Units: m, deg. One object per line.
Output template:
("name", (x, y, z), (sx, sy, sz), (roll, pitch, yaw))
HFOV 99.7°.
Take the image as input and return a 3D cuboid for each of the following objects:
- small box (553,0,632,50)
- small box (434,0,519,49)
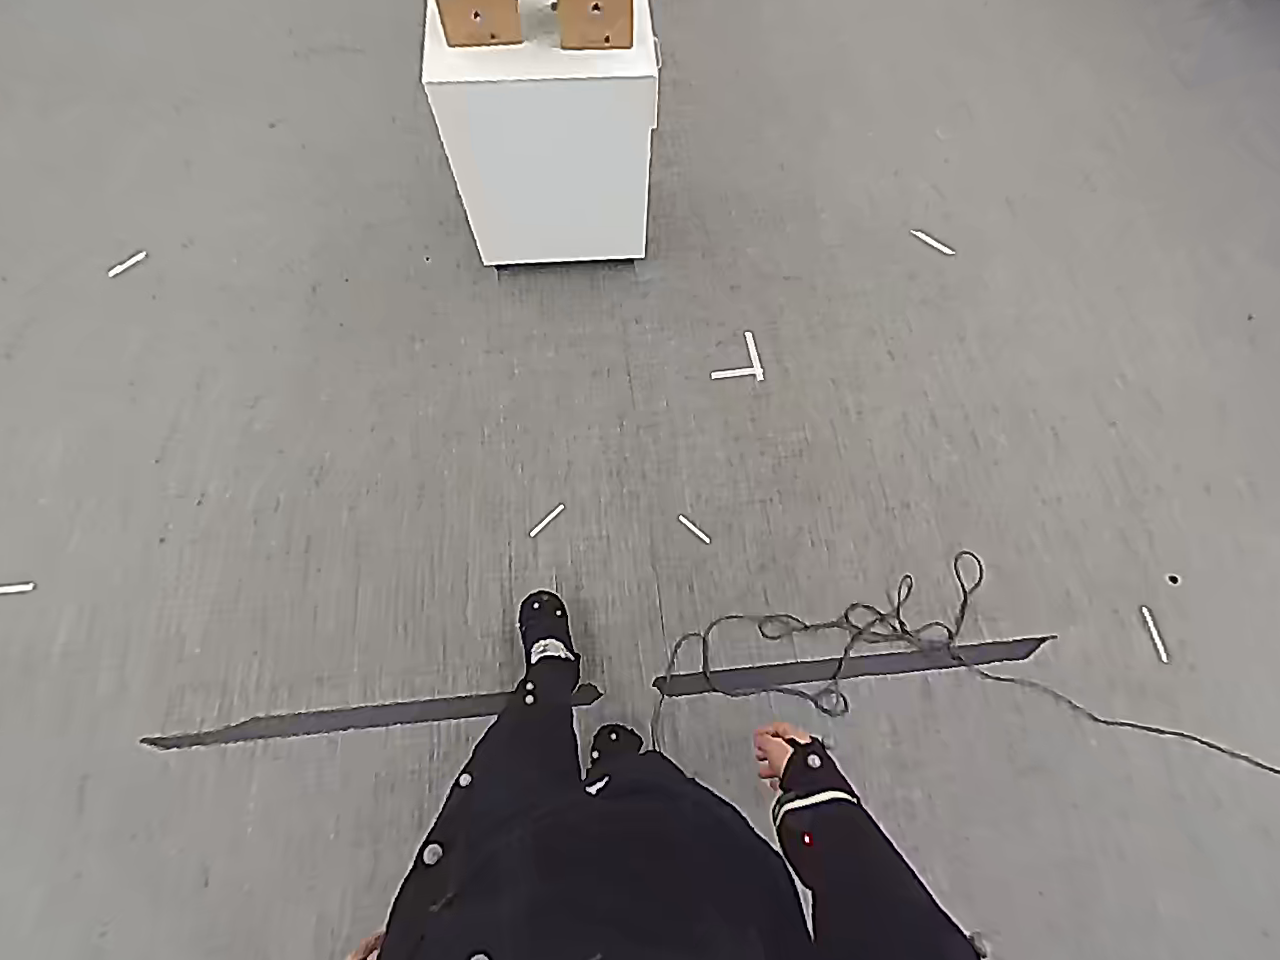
("small box", (-0.106, -1.077, 1.178), (0.168, 0.176, 0.179), (-4, 71, -2))
("small box", (-0.361, -1.078, 1.168), (0.168, 0.176, 0.179), (-7, 70, -4))
